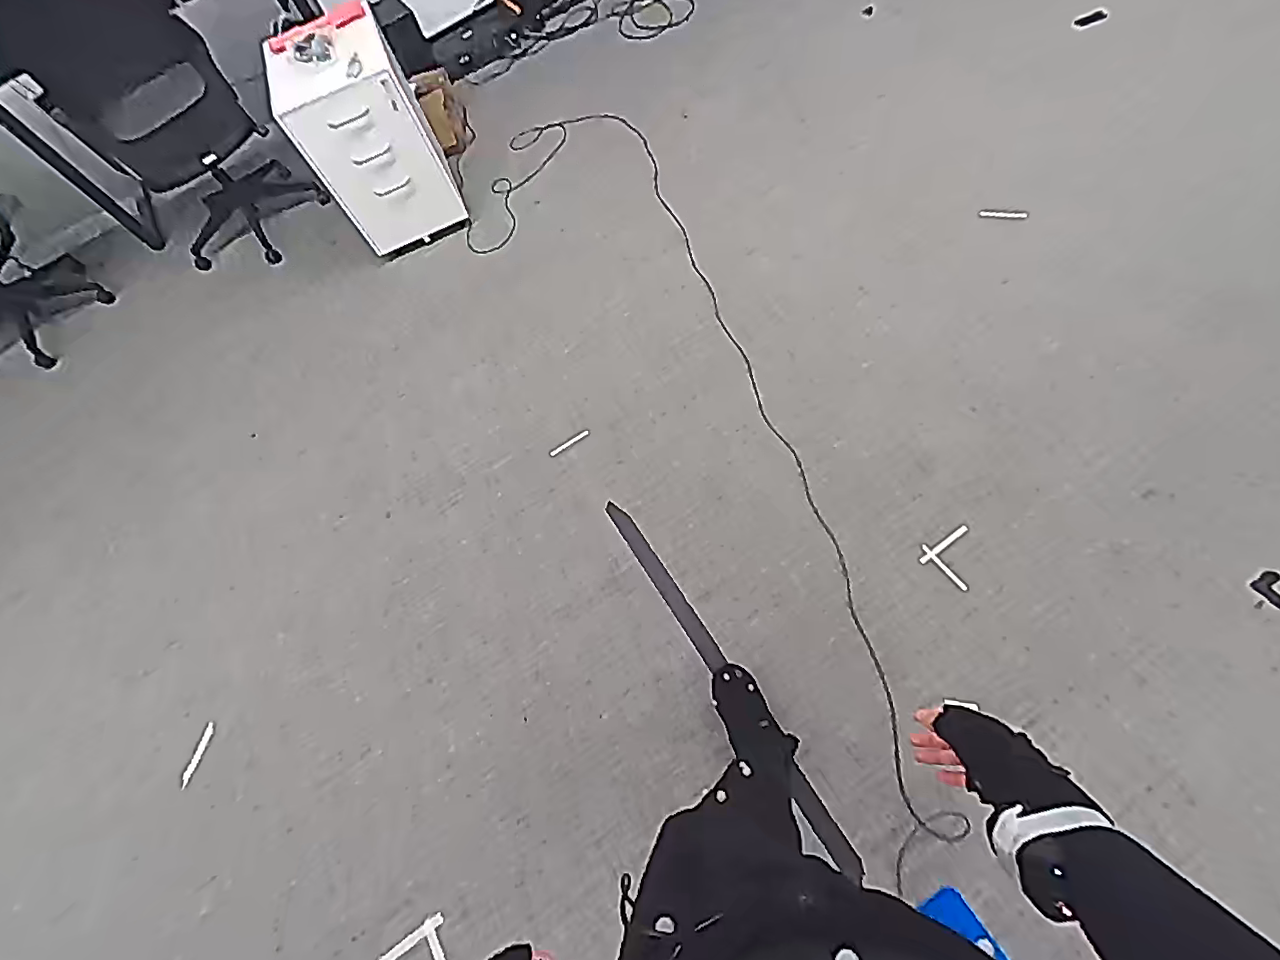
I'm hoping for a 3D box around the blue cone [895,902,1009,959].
[{"bbox_3d":[0.567,0.849,0.856,0.193,0.380,0.192,-34,62,-7],"label":"blue cone"}]
